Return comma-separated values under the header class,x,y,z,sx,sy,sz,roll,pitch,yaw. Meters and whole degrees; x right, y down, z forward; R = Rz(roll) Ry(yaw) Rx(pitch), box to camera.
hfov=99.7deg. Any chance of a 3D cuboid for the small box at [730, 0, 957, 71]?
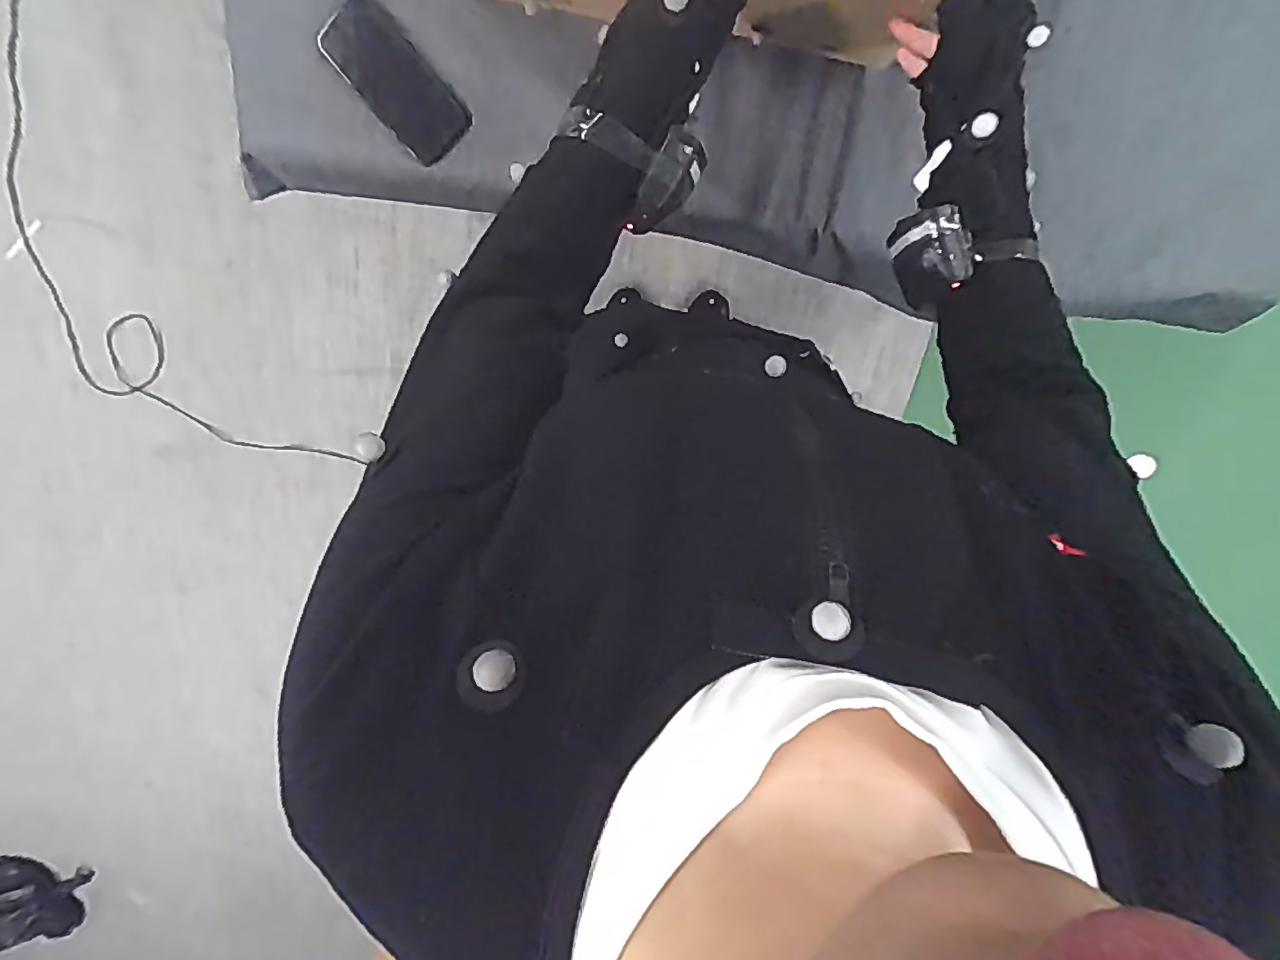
class,x,y,z,sx,sy,sz,roll,pitch,yaw
small box,0.176,-0.471,0.437,0.168,0.176,0.179,11,110,-2
